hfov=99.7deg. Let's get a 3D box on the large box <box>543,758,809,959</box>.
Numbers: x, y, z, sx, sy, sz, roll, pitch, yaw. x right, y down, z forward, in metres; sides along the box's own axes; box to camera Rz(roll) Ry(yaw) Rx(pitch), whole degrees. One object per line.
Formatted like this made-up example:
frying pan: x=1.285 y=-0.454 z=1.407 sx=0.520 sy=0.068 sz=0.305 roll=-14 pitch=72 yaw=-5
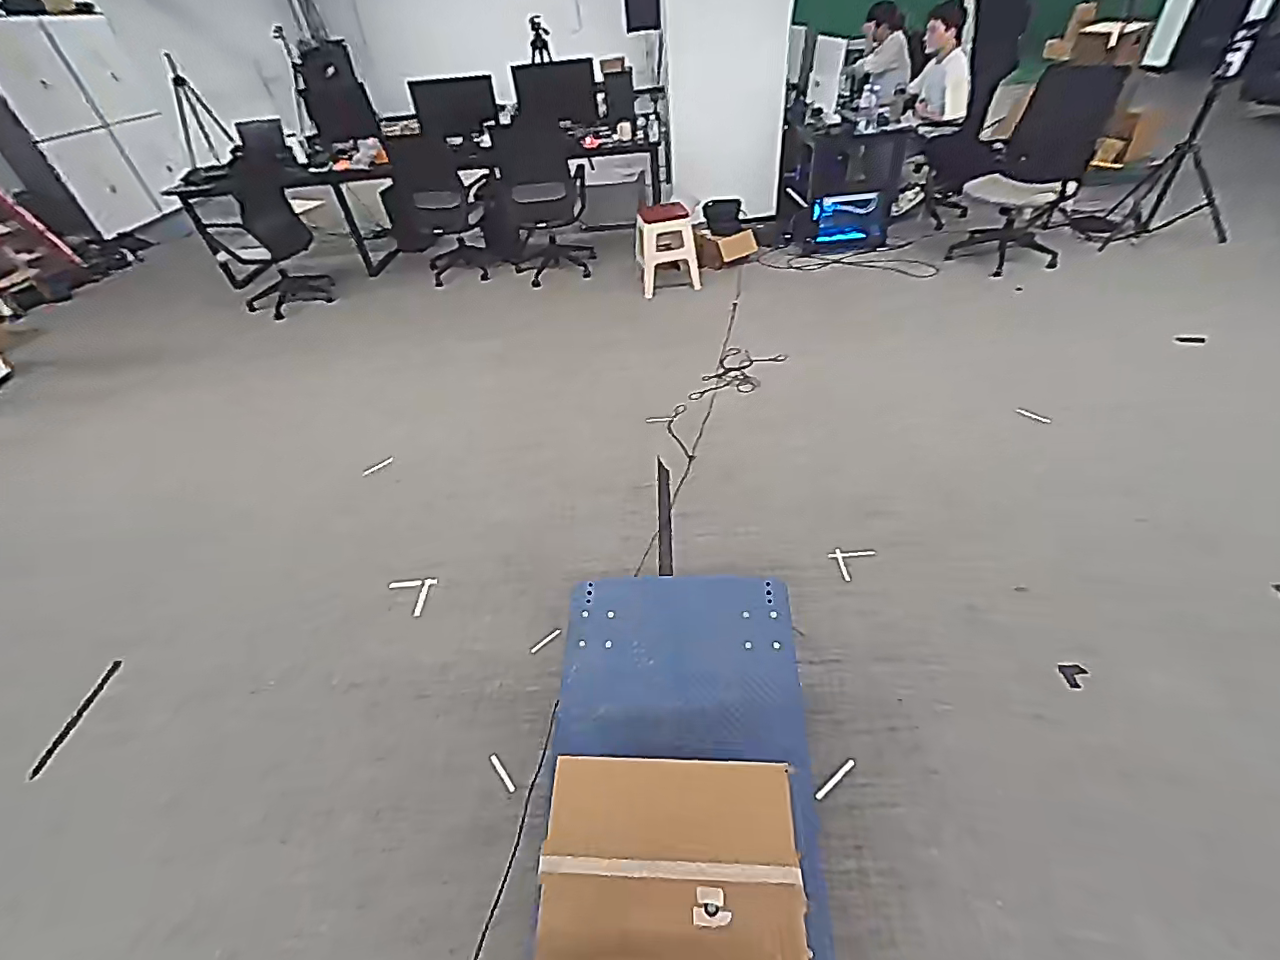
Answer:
large box: x=0.064 y=0.710 z=0.988 sx=0.408 sy=0.320 sz=0.320 roll=-1 pitch=54 yaw=5
